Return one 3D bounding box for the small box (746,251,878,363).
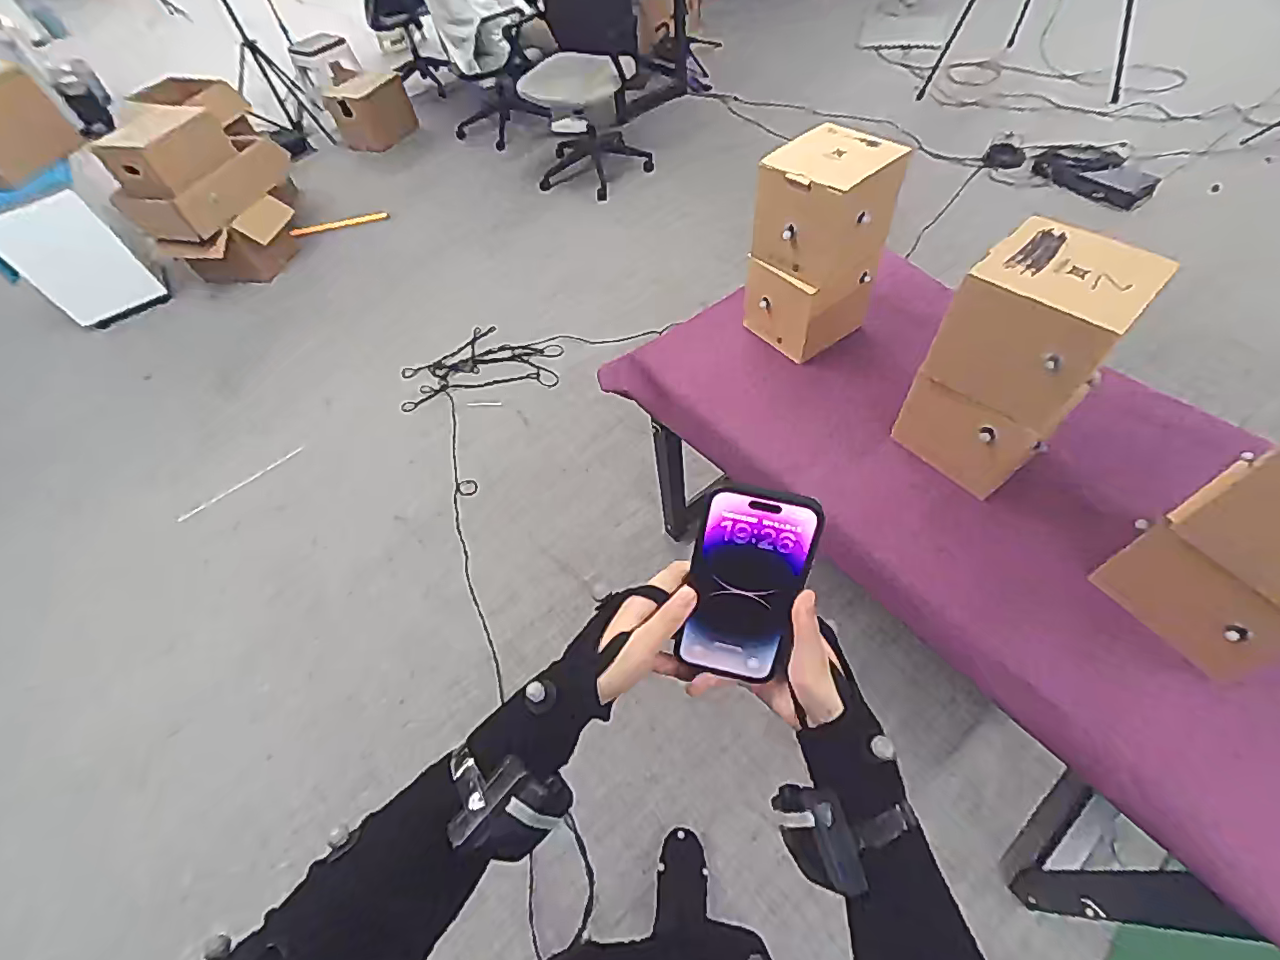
[{"bbox_3d":[0.323,-0.358,1.048,0.179,0.176,0.168,-33,57,-16],"label":"small box"}]

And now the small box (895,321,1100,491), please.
[{"bbox_3d":[0.537,-0.106,0.840,0.168,0.176,0.179,-33,57,-17],"label":"small box"}]

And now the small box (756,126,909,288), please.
[{"bbox_3d":[0.313,-0.458,0.918,0.179,0.176,0.168,-38,60,-18],"label":"small box"}]

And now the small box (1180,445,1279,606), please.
[{"bbox_3d":[0.705,0.032,0.521,0.168,0.176,0.179,-28,57,-14],"label":"small box"}]

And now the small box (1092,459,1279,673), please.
[{"bbox_3d":[0.728,0.113,0.662,0.168,0.176,0.179,-28,55,-13],"label":"small box"}]
